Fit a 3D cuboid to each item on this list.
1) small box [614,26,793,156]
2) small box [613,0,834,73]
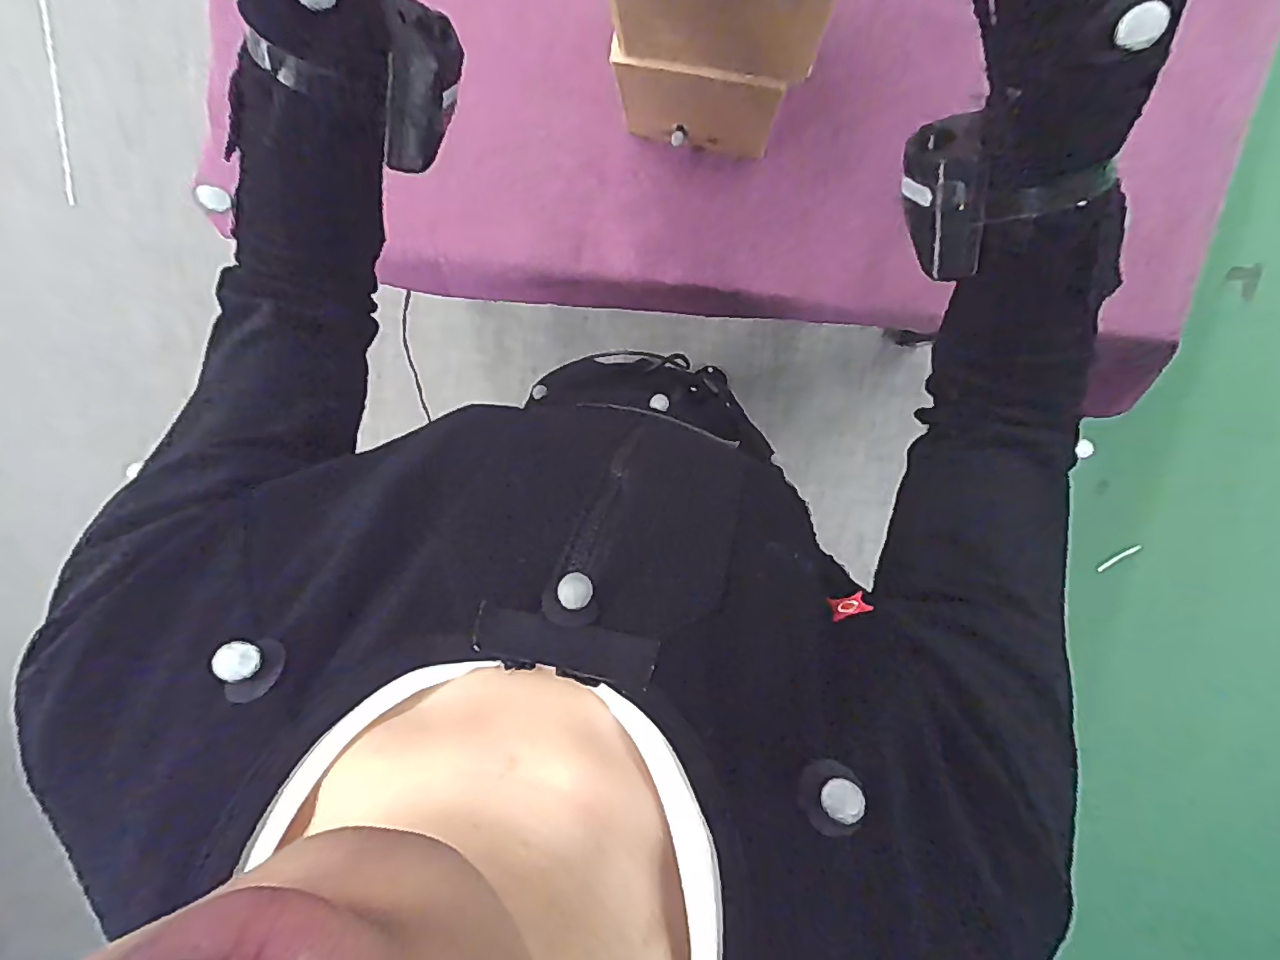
[{"bbox_3d":[0.077,-0.465,0.549,0.168,0.176,0.179,11,103,3],"label":"small box"},{"bbox_3d":[0.070,-0.433,0.390,0.179,0.176,0.168,10,102,3],"label":"small box"}]
